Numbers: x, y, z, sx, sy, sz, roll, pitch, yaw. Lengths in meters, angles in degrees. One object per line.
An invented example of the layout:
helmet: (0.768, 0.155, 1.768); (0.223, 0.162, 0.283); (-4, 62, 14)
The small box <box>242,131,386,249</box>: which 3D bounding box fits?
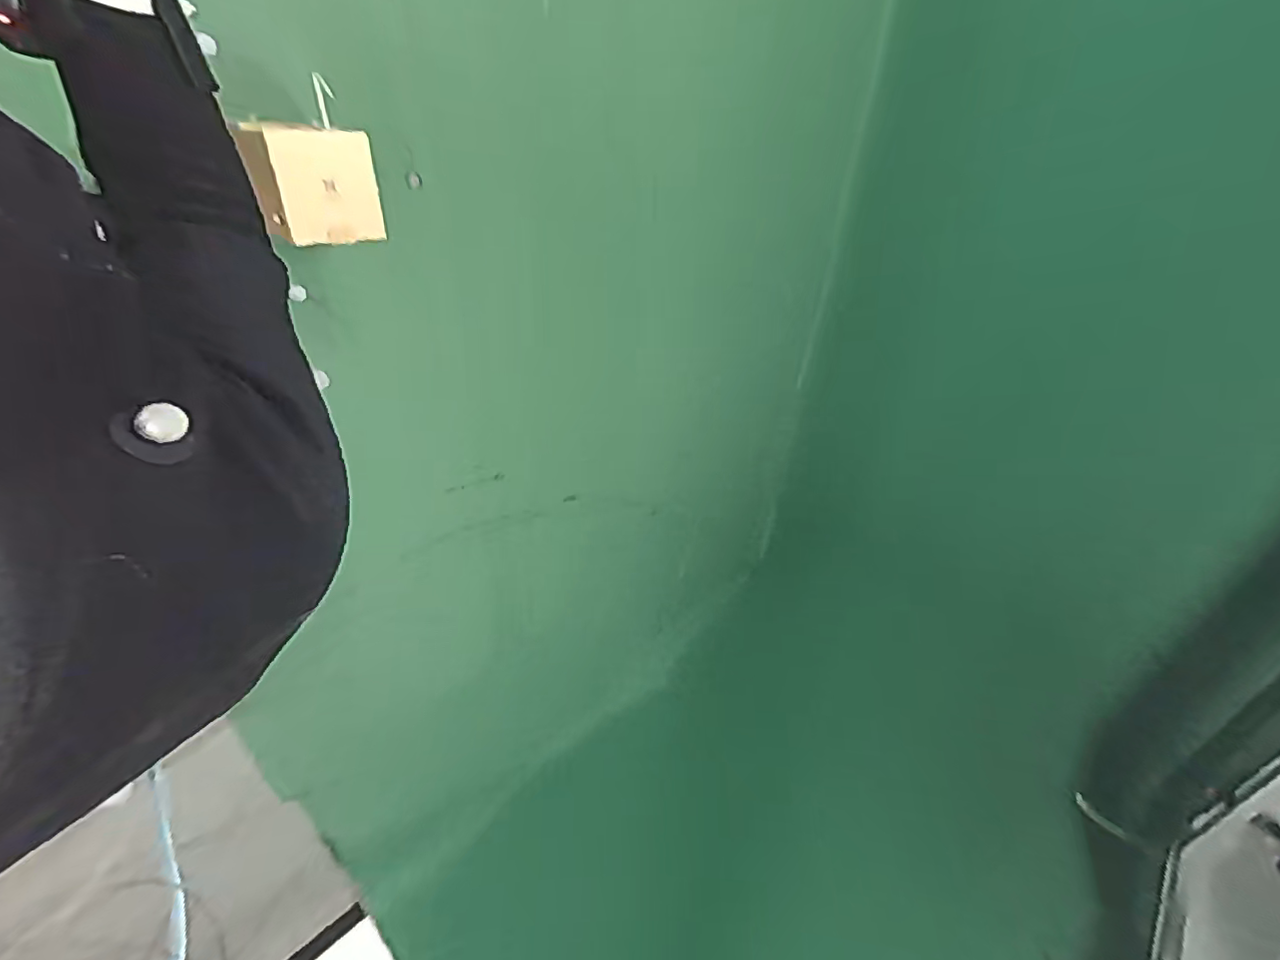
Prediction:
small box: (-0.605, -0.543, 1.007); (0.168, 0.176, 0.179); (-26, 134, -37)
